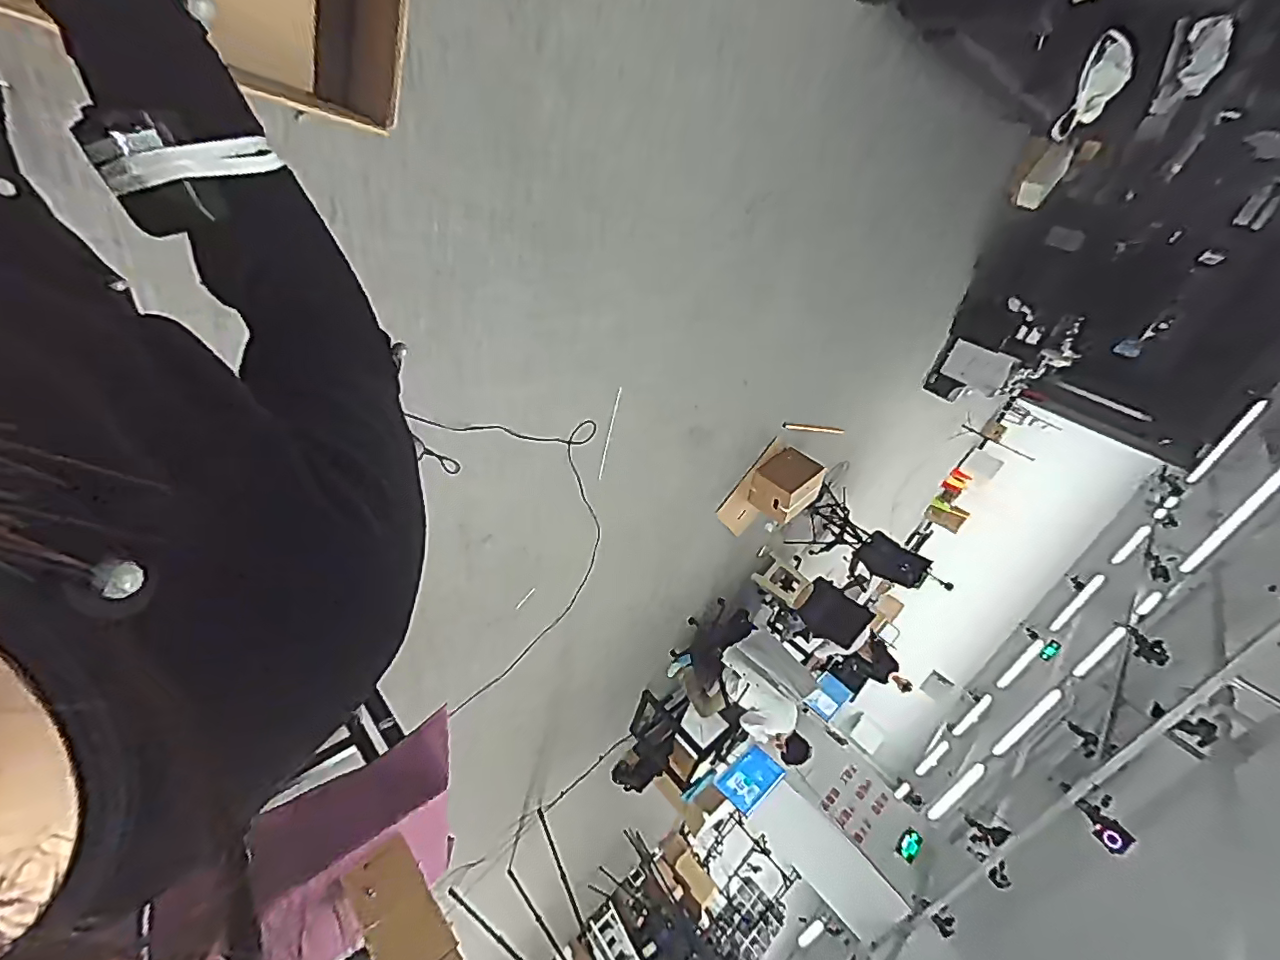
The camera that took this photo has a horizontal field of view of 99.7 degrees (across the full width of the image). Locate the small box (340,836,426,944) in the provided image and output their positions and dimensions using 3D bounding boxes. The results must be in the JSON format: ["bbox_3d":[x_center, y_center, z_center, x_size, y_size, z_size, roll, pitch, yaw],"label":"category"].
[{"bbox_3d":[-0.699,1.123,1.478,0.168,0.176,0.179,-21,138,-39],"label":"small box"}]

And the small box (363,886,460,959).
[{"bbox_3d":[-0.586,1.208,1.398,0.179,0.176,0.168,-23,138,-38],"label":"small box"}]
